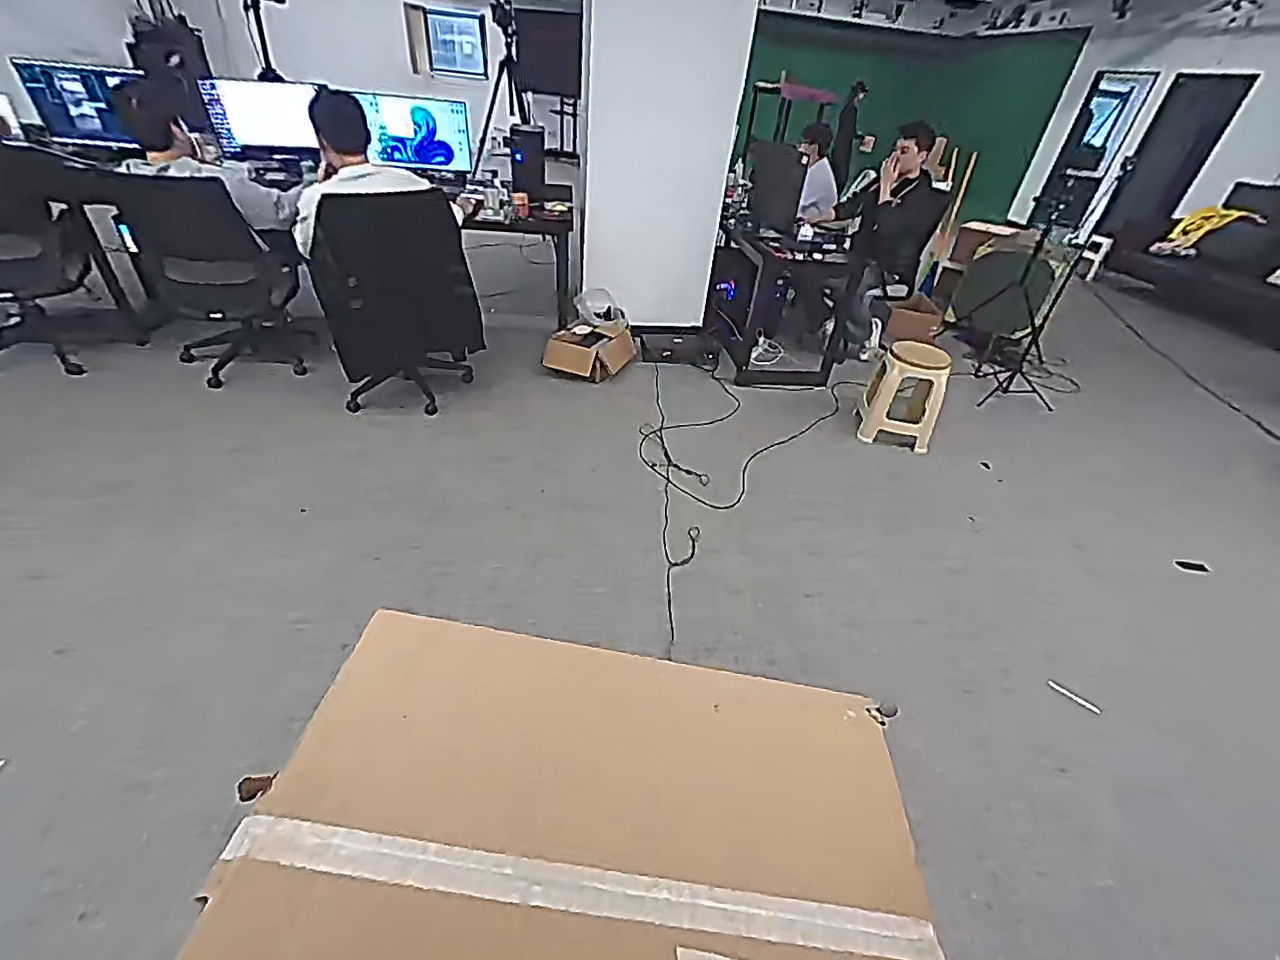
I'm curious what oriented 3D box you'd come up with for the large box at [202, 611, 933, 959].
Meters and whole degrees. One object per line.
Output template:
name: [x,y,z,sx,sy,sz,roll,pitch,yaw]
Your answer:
large box: [-0.048,0.348,0.420,0.408,0.320,0.320,12,41,-3]
